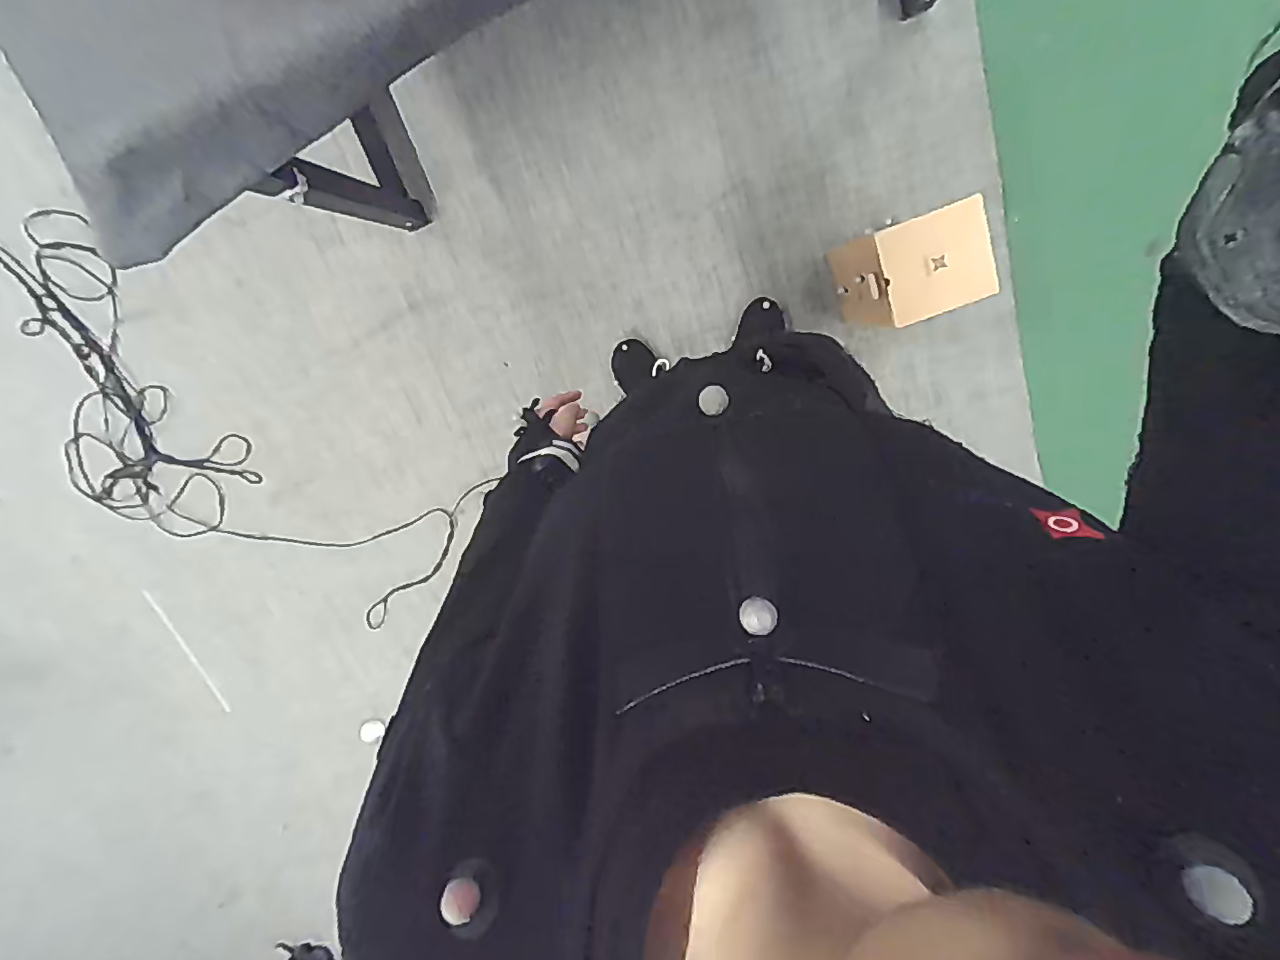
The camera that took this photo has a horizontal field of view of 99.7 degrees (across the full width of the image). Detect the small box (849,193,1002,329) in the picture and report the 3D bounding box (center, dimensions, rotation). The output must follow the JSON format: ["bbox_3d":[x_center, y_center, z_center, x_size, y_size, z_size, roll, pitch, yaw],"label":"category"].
[{"bbox_3d":[0.501,-0.385,0.969,0.179,0.176,0.168,-19,105,12],"label":"small box"}]
